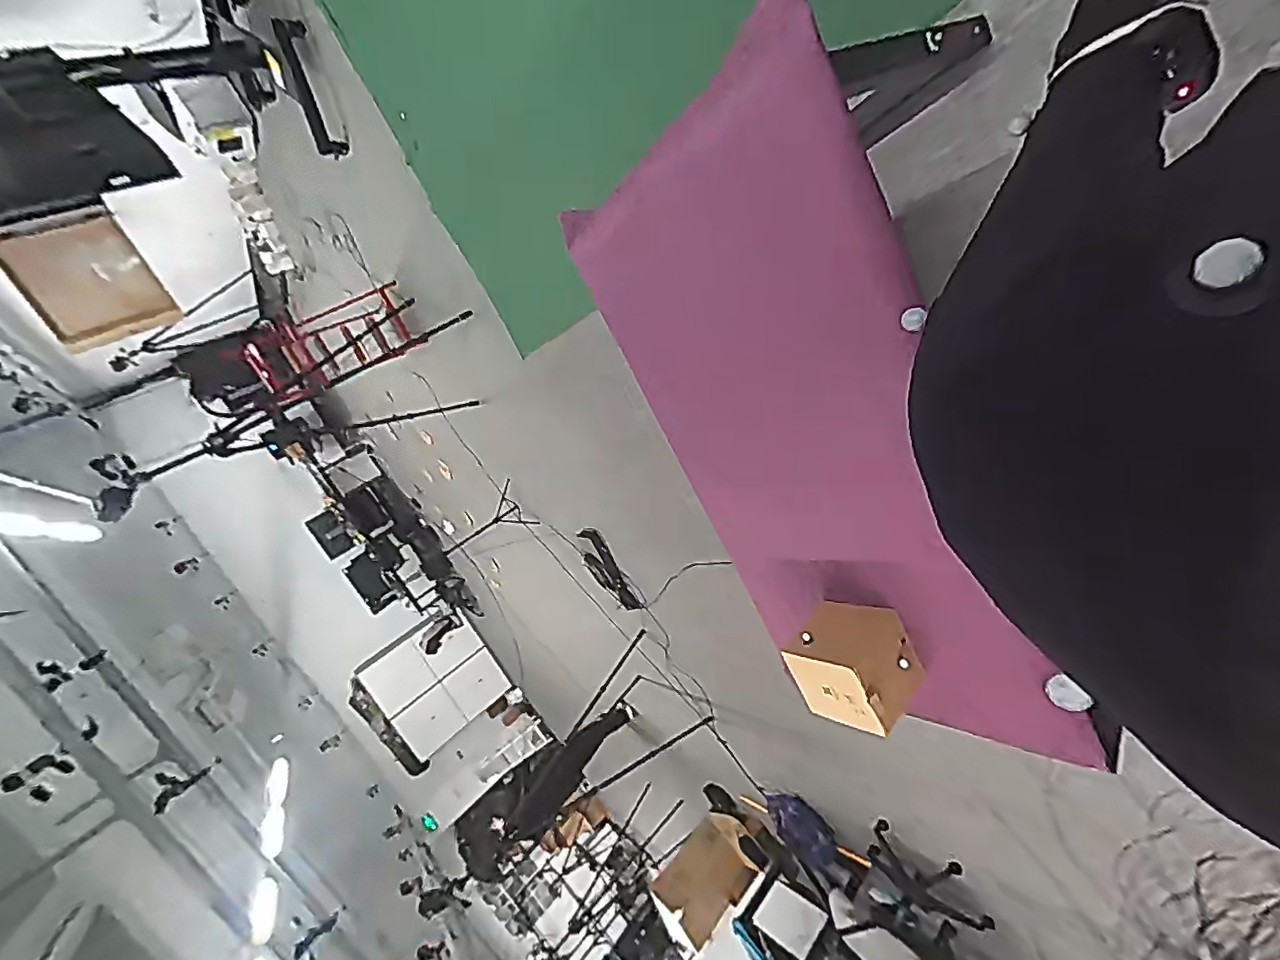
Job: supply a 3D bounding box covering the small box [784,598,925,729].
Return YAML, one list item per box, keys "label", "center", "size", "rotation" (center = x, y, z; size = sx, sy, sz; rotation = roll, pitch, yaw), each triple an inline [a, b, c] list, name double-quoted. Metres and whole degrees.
- label: "small box"
  center: [0.432, 0.355, 1.086]
  size: [0.179, 0.176, 0.168]
  rotation: [-9, 114, 57]
